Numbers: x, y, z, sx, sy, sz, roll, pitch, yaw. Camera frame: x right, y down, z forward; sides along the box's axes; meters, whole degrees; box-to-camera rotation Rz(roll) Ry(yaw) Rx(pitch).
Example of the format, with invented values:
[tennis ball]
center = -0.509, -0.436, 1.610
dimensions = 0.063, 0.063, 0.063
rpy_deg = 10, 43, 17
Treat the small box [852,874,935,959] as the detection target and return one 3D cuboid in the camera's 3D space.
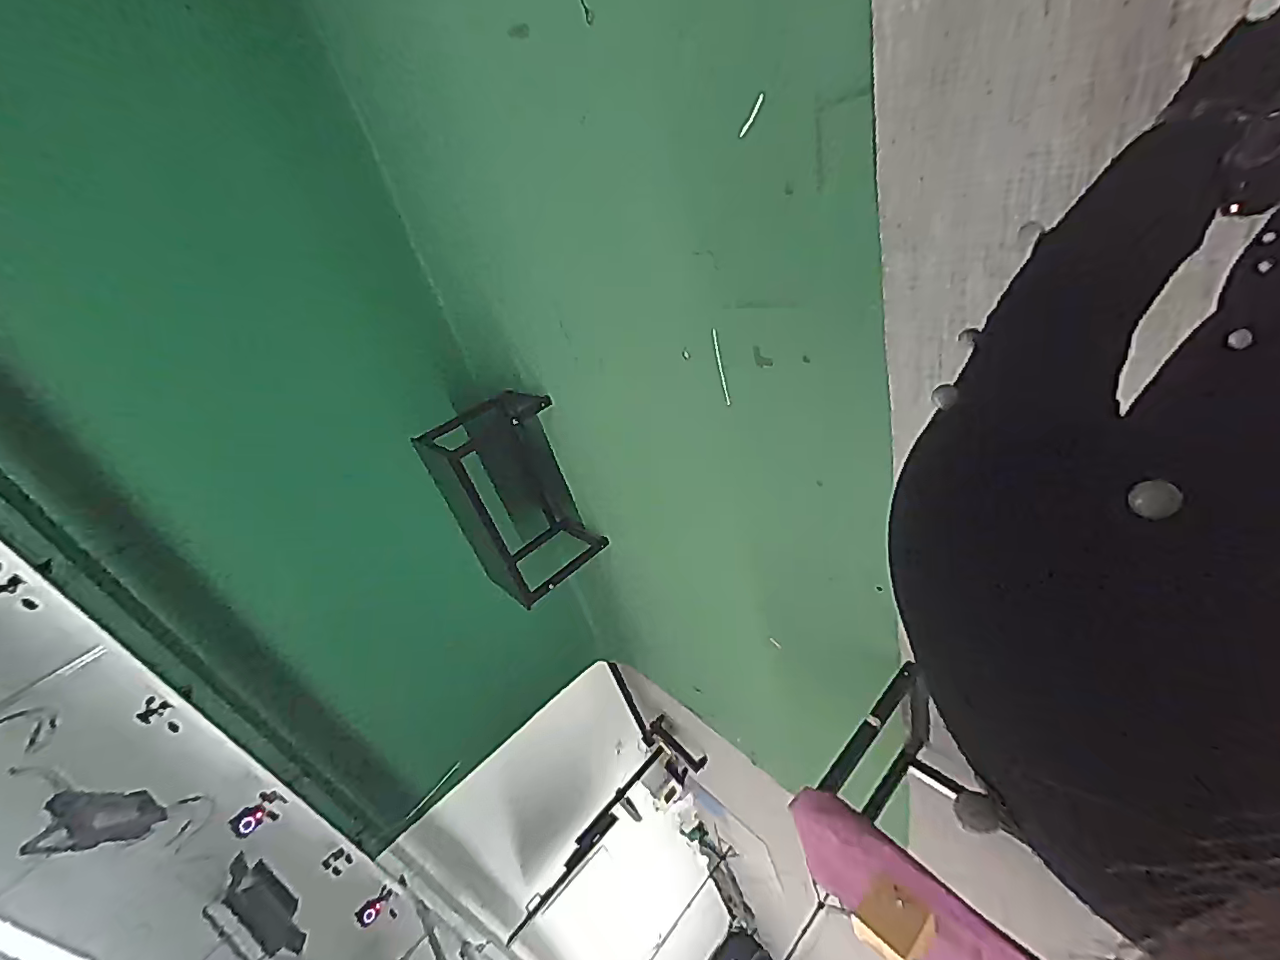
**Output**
[small box]
center = 0.754, 1.328, 1.601
dimensions = 0.168, 0.176, 0.179
rpy_deg = 20, 137, 46
